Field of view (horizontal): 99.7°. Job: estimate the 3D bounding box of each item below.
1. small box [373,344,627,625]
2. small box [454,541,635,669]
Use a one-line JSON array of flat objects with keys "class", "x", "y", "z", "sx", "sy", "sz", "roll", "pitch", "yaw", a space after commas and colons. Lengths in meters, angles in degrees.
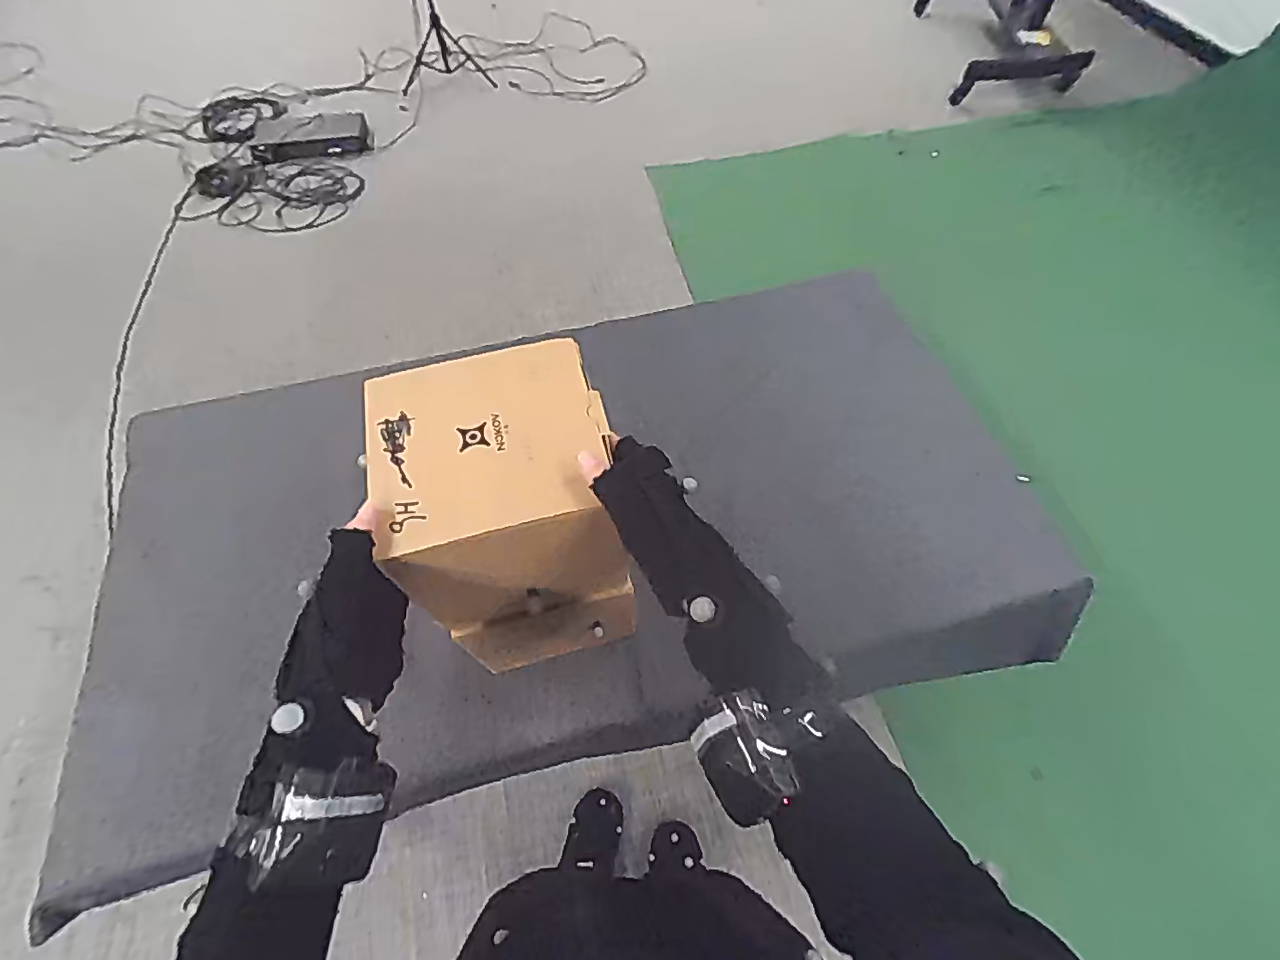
[{"class": "small box", "x": -0.115, "y": 0.009, "z": 0.478, "sx": 0.179, "sy": 0.176, "sz": 0.168, "roll": -12, "pitch": 58, "yaw": -9}, {"class": "small box", "x": -0.110, "y": 0.099, "z": 0.620, "sx": 0.179, "sy": 0.176, "sz": 0.168, "roll": -15, "pitch": 60, "yaw": -8}]
